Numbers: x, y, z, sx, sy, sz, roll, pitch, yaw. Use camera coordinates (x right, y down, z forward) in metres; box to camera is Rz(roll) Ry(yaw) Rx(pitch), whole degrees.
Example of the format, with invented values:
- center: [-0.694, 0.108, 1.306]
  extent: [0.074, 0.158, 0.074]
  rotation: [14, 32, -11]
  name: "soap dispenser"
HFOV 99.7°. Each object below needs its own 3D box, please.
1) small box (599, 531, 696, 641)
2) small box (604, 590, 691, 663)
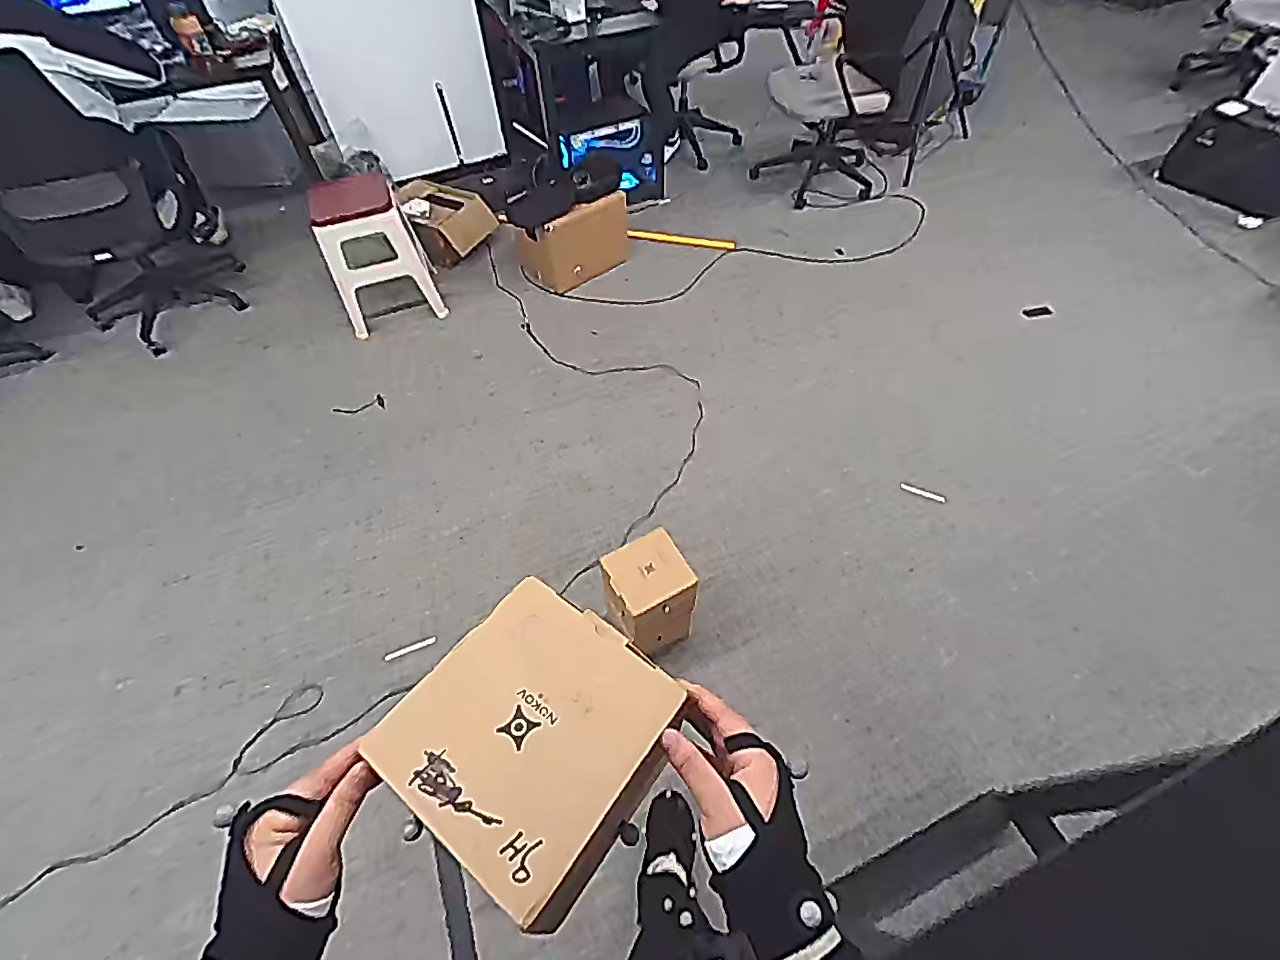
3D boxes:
- center: [0.019, 0.263, 1.314]
  extent: [0.179, 0.176, 0.168]
  rotation: [-25, 58, -16]
  name: "small box"
- center: [0.018, 0.360, 1.445]
  extent: [0.179, 0.176, 0.168]
  rotation: [-24, 57, -14]
  name: "small box"
